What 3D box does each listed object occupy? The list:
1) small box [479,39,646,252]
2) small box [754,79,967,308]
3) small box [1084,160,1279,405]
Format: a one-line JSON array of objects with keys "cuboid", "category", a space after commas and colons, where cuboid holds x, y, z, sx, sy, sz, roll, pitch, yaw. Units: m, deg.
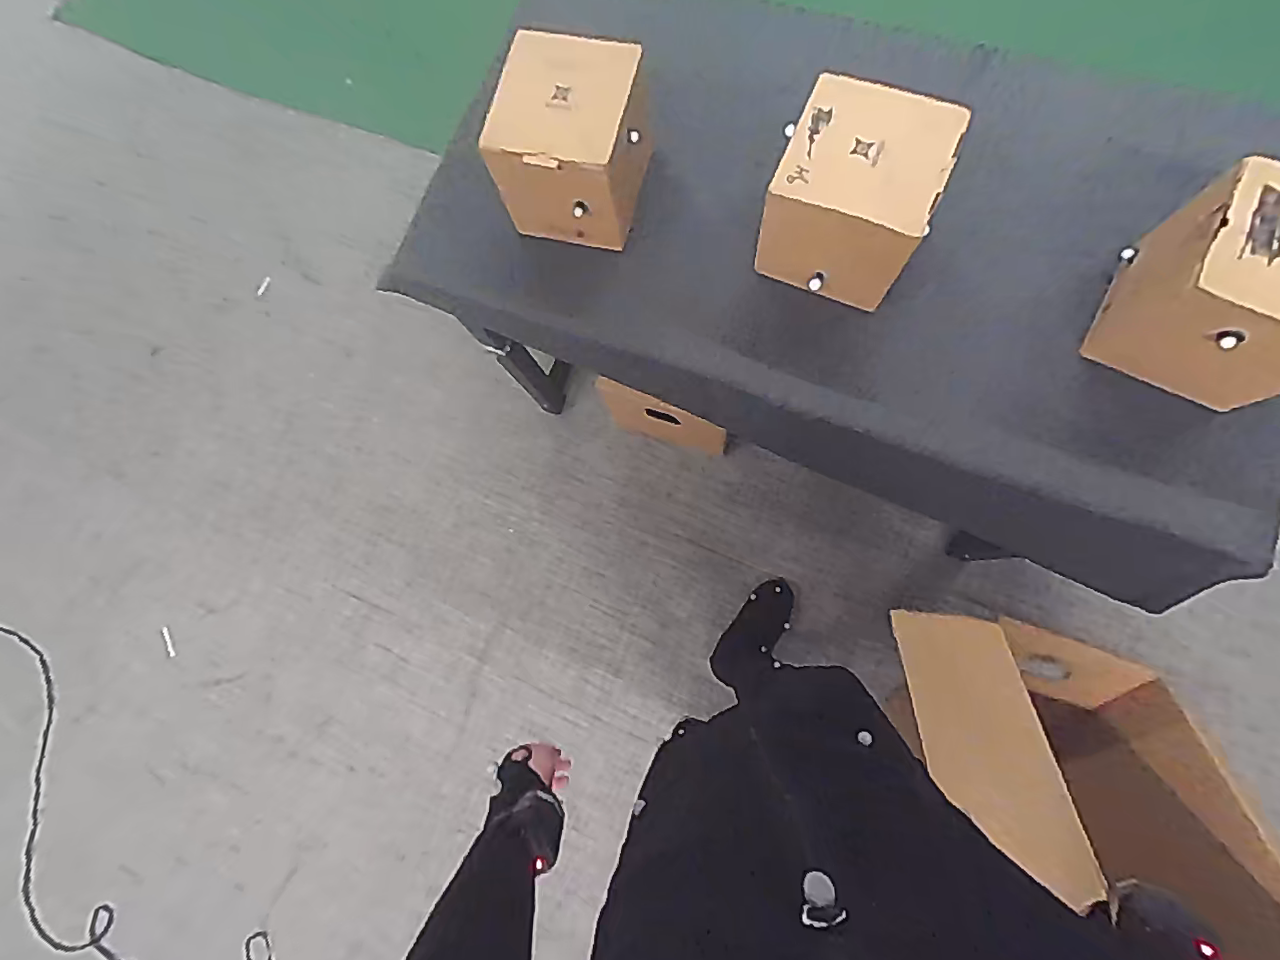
[{"cuboid": [-0.091, -0.444, 0.740, 0.168, 0.176, 0.179, 13, 79, 7], "category": "small box"}, {"cuboid": [0.260, -0.344, 0.680, 0.179, 0.176, 0.168, 23, 83, 9], "category": "small box"}, {"cuboid": [0.662, -0.205, 0.606, 0.179, 0.176, 0.168, 28, 84, 10], "category": "small box"}]
